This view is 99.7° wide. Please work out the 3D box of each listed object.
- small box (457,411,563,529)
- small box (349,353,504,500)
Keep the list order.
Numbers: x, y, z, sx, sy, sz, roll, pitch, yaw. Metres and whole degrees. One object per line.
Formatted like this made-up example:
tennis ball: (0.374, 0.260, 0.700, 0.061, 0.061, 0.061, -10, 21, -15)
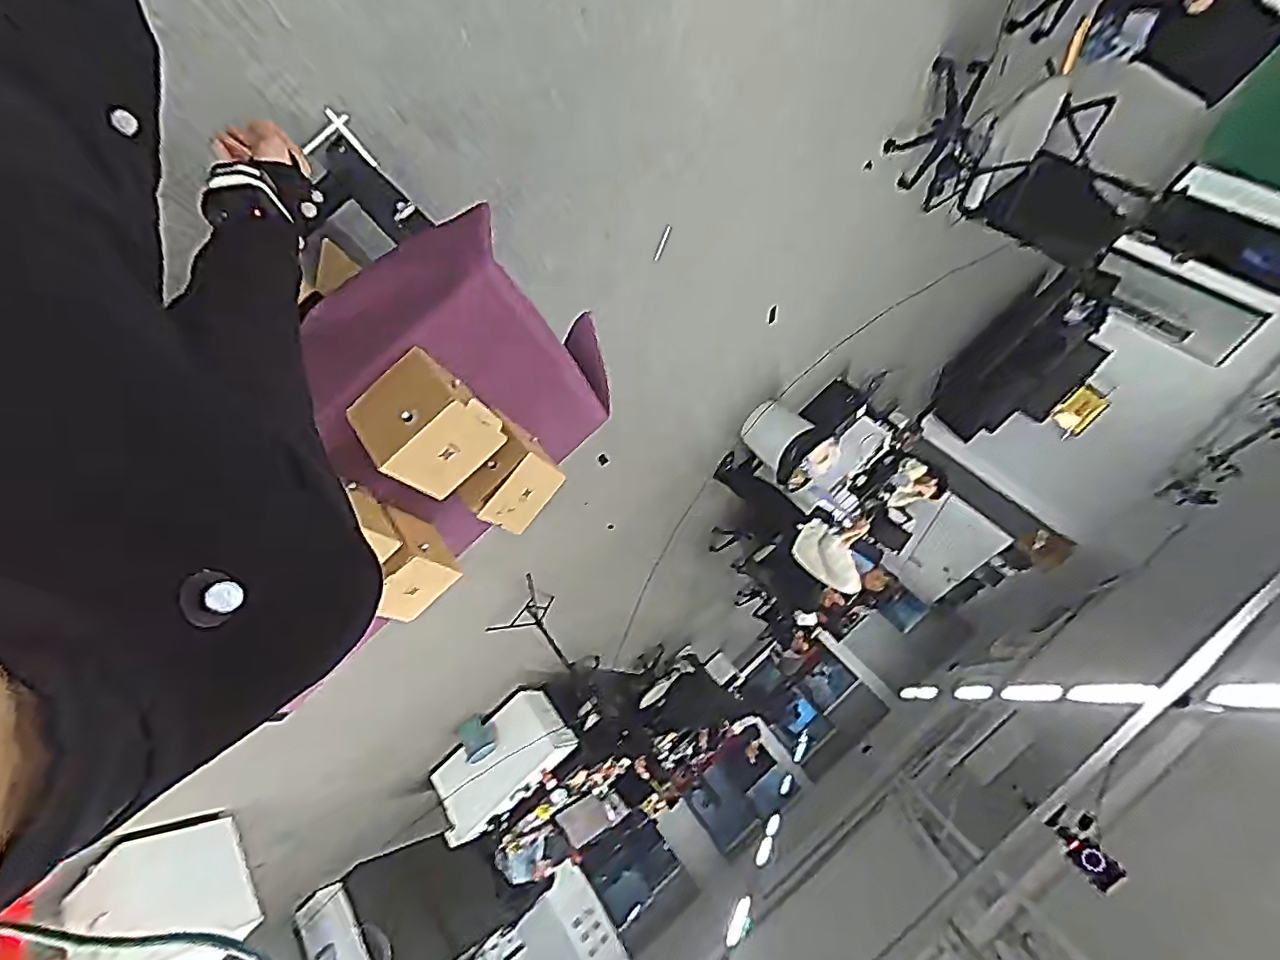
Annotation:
small box: (-0.311, -0.024, 1.211, 0.179, 0.176, 0.168, -44, 152, 1)
small box: (-0.393, -0.099, 0.996, 0.179, 0.176, 0.168, -43, 153, -1)
